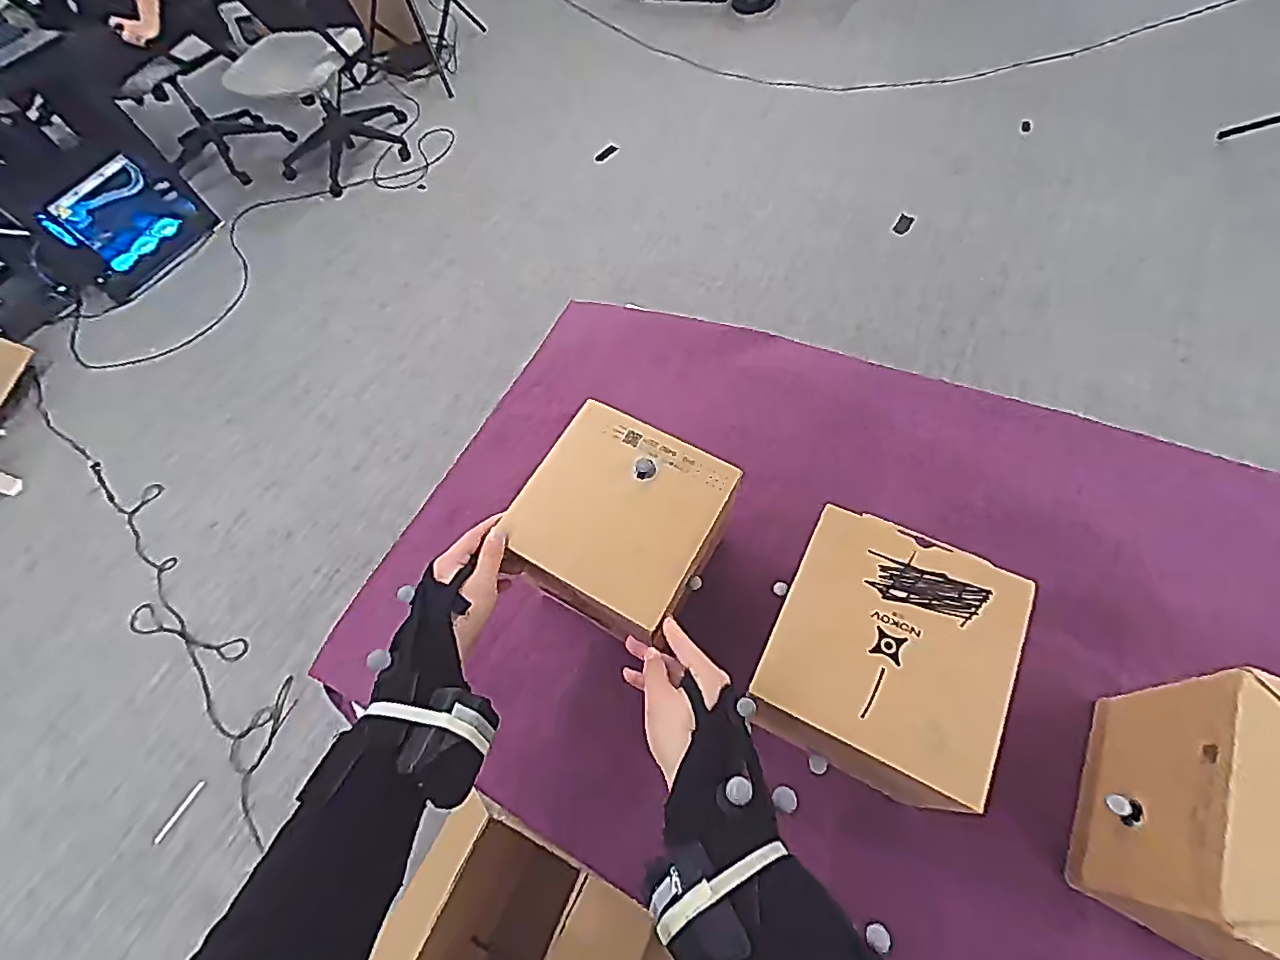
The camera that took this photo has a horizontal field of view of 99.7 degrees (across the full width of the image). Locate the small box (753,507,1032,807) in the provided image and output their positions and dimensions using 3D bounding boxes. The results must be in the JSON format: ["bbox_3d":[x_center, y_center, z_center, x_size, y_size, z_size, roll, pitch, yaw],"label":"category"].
[{"bbox_3d":[0.208,0.159,0.486,0.168,0.176,0.179,22,66,20],"label":"small box"}]
